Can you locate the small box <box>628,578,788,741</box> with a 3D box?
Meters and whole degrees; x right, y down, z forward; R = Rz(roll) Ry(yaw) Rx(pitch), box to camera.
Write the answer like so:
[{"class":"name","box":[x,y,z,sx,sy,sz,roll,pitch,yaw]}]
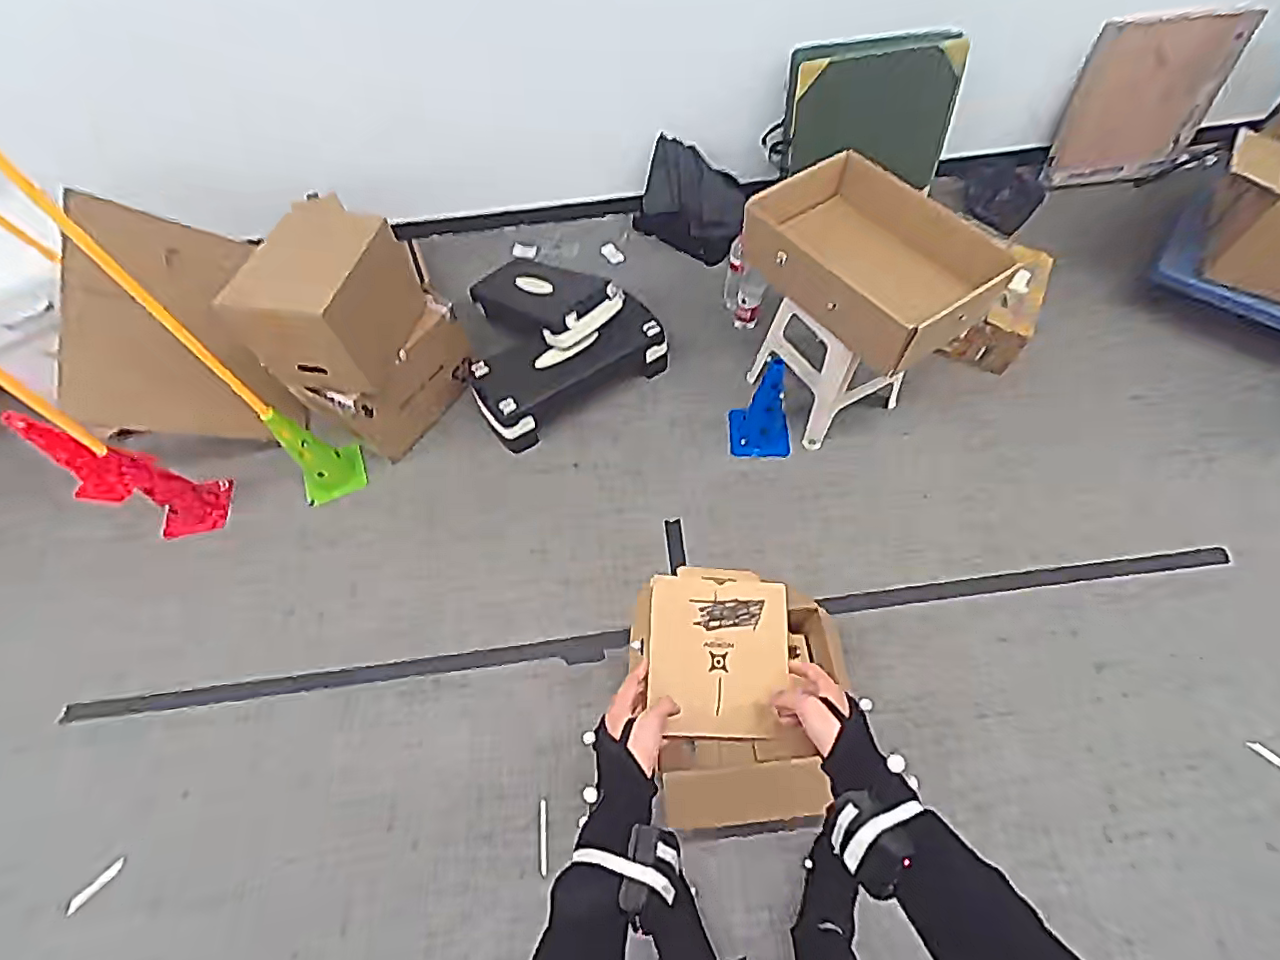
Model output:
[{"class":"small box","box":[0.078,0.239,0.704,0.168,0.176,0.179,5,64,-6]}]
